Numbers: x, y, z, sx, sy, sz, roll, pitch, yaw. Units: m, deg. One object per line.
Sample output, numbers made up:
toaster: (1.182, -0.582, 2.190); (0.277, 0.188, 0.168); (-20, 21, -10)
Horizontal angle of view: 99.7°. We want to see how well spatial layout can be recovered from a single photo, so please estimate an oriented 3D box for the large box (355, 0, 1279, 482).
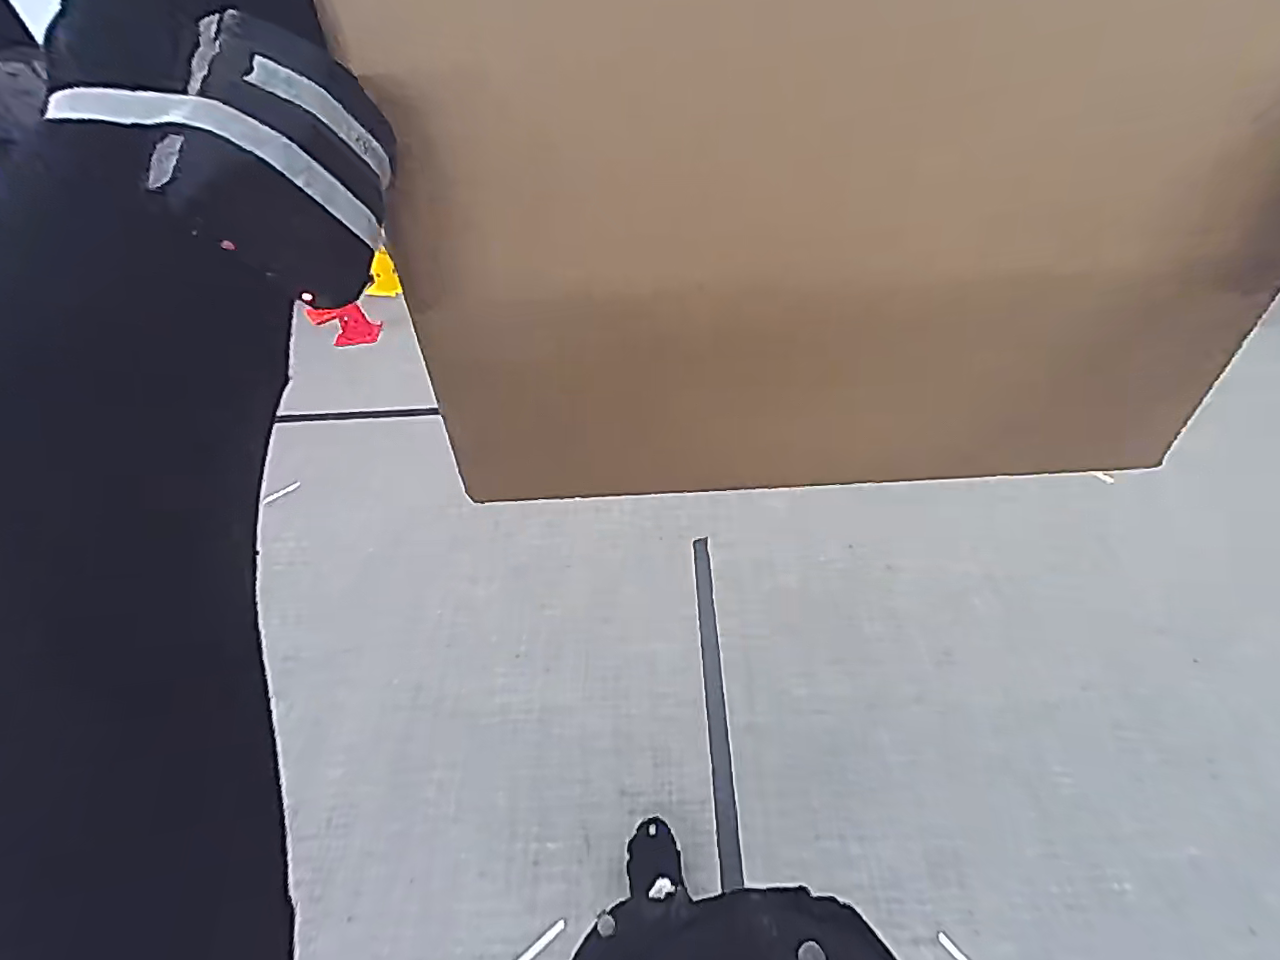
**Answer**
large box: (0.085, -0.217, 0.354); (0.408, 0.320, 0.320); (-3, 39, -2)
